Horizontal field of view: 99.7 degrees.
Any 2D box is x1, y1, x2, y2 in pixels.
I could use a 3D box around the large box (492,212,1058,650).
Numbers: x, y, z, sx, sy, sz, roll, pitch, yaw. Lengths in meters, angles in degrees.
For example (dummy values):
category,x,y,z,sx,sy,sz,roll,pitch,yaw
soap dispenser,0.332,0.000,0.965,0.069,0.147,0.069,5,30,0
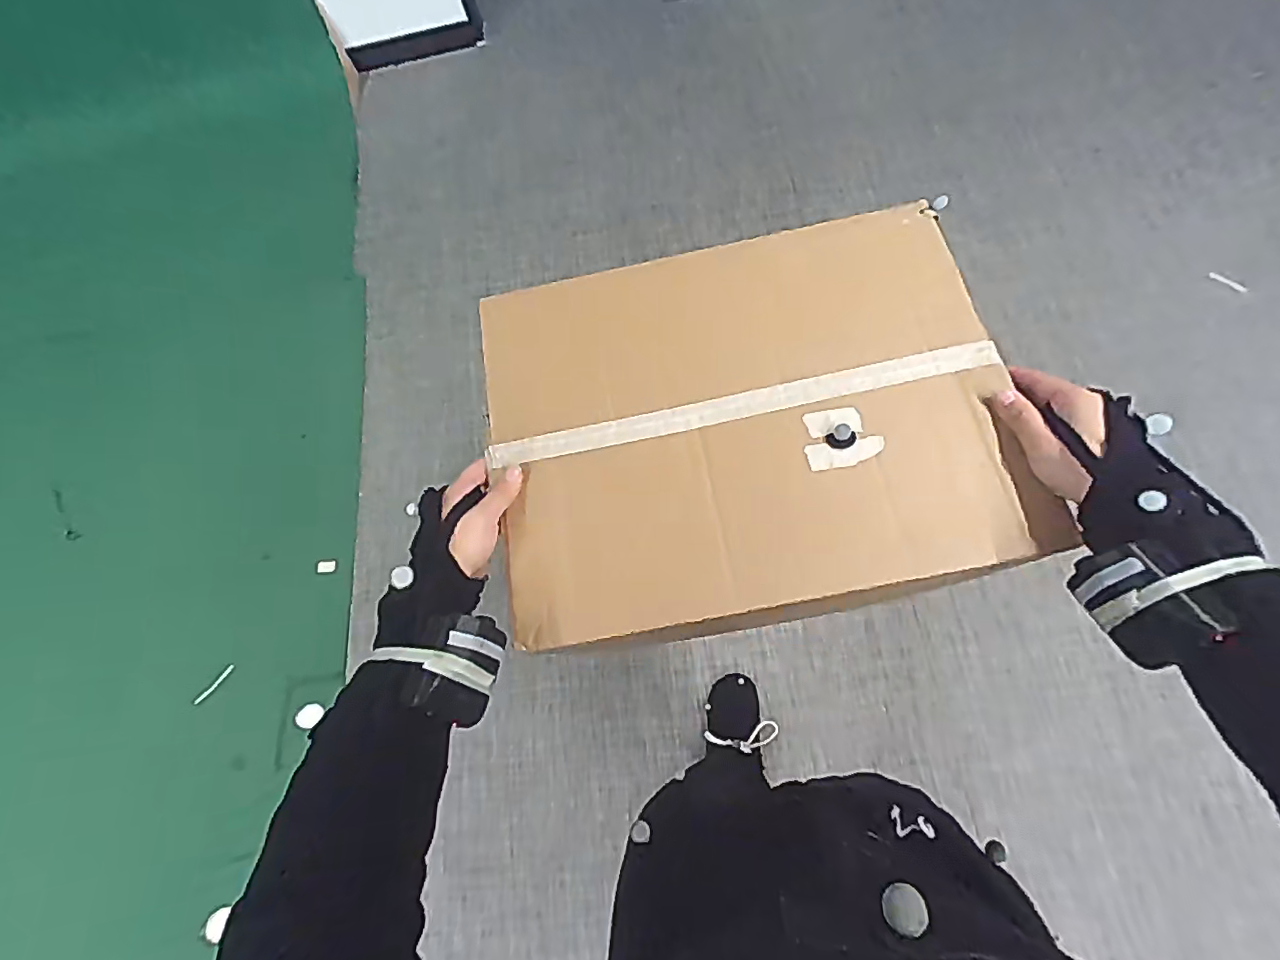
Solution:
category,x,y,z,sx,sy,sz,roll,pitch,yaw
large box,0.096,-0.014,0.584,0.408,0.320,0.320,-11,72,1
